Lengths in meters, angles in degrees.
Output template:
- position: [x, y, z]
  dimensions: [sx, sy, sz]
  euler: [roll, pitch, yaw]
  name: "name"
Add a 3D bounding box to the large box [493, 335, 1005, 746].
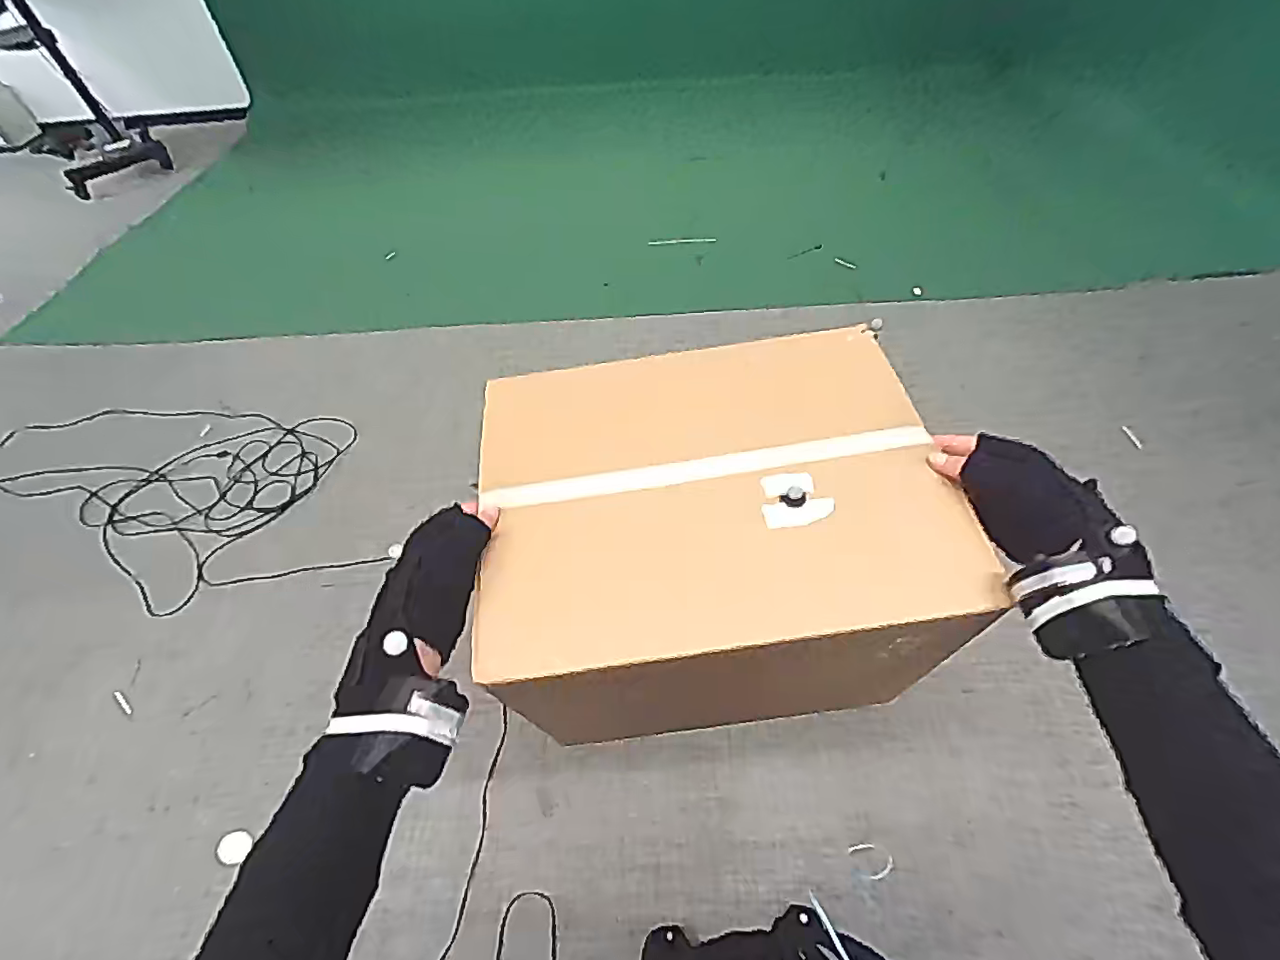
- position: [0.075, 0.081, 0.612]
  dimensions: [0.408, 0.320, 0.320]
  euler: [-8, 55, -1]
  name: "large box"
